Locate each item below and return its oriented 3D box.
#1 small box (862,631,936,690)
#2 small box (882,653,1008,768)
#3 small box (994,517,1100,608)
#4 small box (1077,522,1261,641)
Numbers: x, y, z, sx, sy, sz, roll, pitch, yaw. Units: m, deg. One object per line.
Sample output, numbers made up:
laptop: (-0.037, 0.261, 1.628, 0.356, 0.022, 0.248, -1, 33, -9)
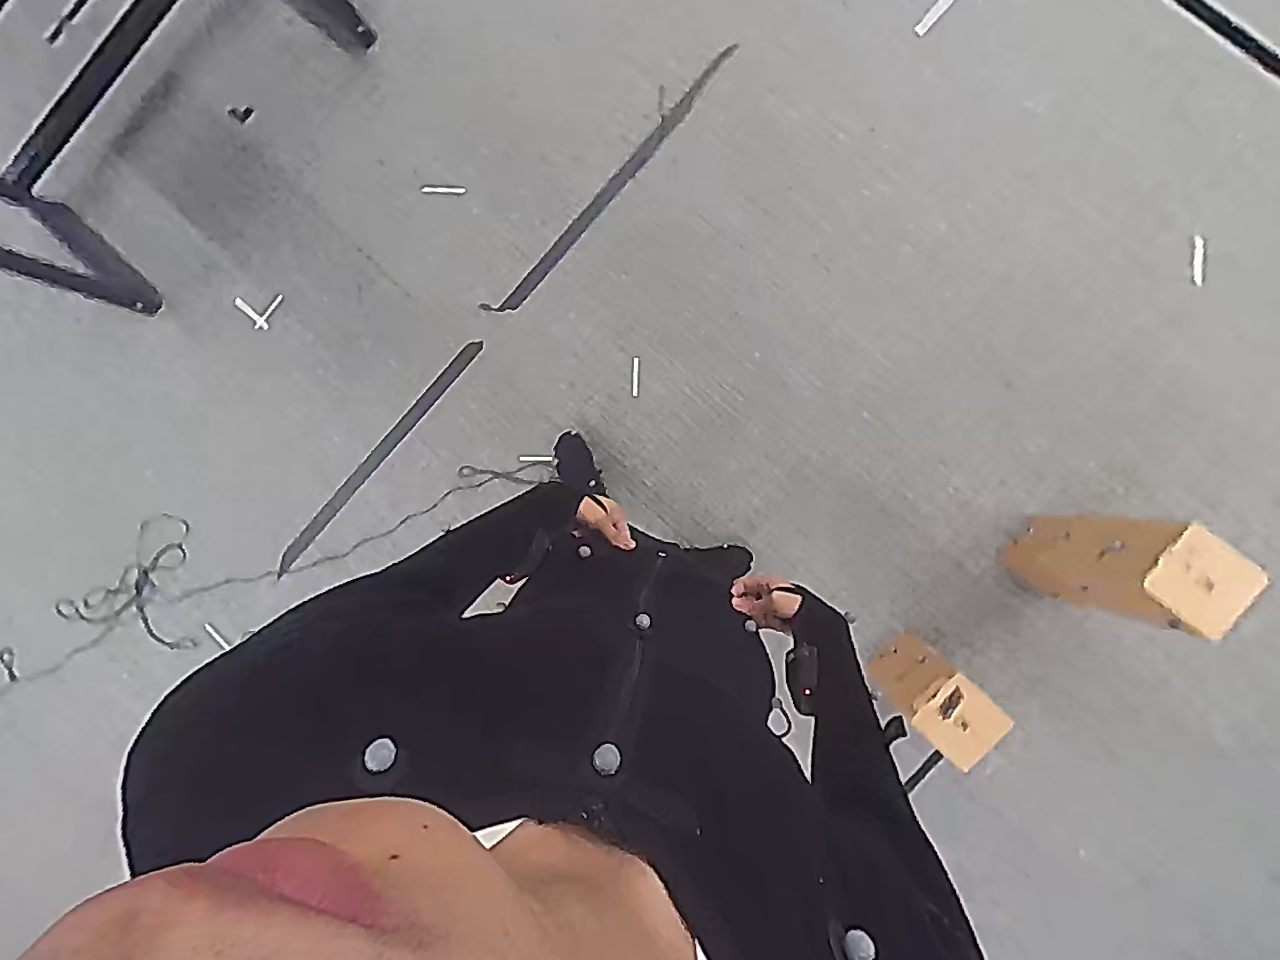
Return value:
small box: (0.750, 0.543, 1.483, 0.179, 0.176, 0.168, 44, 93, 5)
small box: (0.731, 0.547, 1.320, 0.179, 0.176, 0.168, 44, 94, 4)
small box: (1.115, 0.211, 1.454, 0.179, 0.176, 0.168, 40, 92, 4)
small box: (1.087, 0.199, 1.128, 0.179, 0.176, 0.168, 40, 91, 5)
